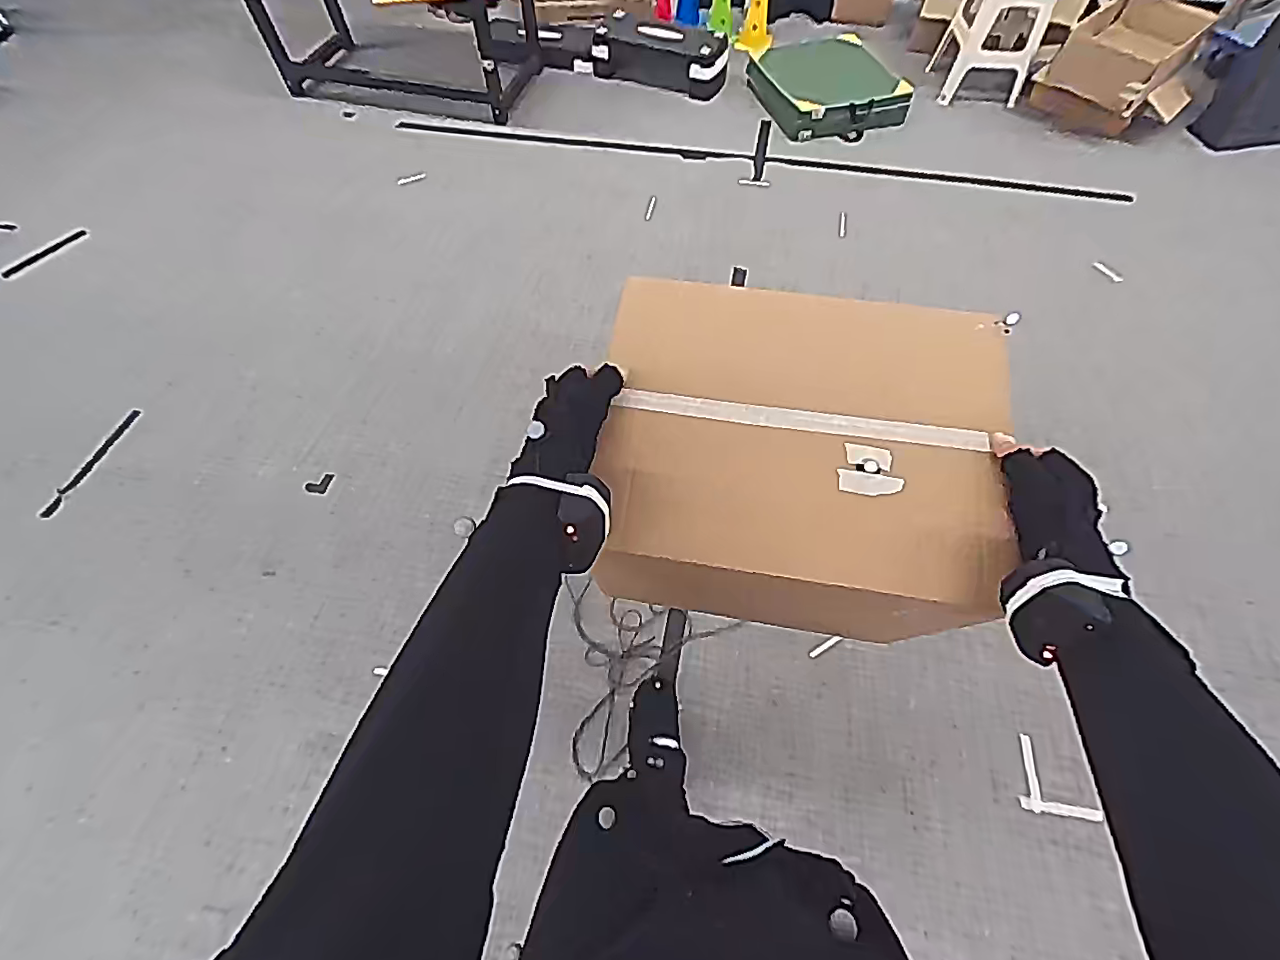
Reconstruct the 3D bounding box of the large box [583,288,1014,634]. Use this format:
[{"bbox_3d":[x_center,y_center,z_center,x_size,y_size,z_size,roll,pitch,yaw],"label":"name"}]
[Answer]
[{"bbox_3d":[0.167,-0.003,0.690,0.408,0.320,0.320,8,70,6],"label":"large box"}]
